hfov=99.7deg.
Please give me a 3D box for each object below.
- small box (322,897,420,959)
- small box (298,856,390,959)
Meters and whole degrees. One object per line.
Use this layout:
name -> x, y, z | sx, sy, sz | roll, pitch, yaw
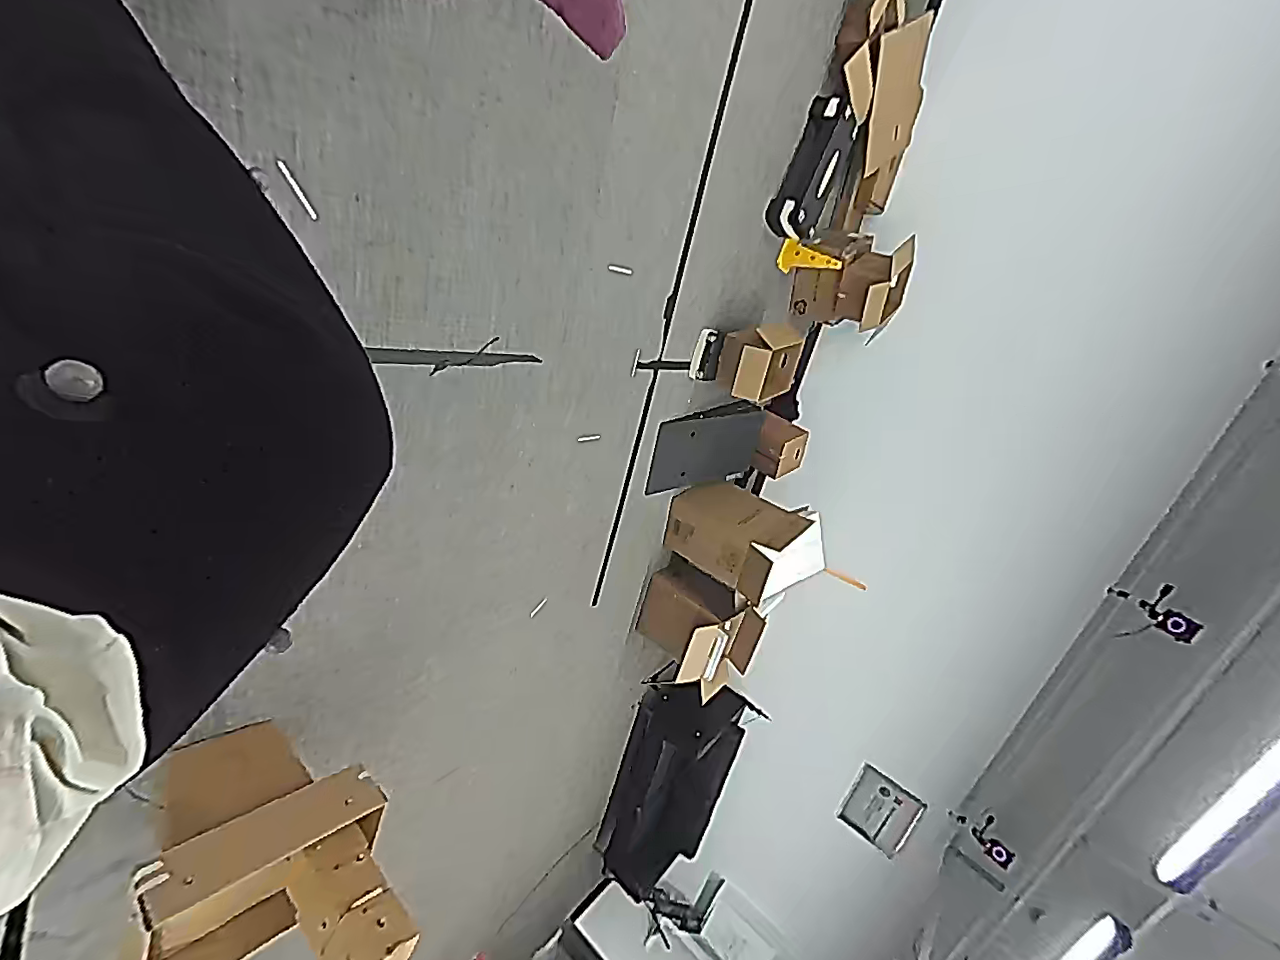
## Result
small box -> -0.782, 1.361, 1.562 | 0.168, 0.176, 0.179 | 19, 100, -59
small box -> -0.906, 1.294, 1.647 | 0.168, 0.176, 0.179 | 11, 107, -58
